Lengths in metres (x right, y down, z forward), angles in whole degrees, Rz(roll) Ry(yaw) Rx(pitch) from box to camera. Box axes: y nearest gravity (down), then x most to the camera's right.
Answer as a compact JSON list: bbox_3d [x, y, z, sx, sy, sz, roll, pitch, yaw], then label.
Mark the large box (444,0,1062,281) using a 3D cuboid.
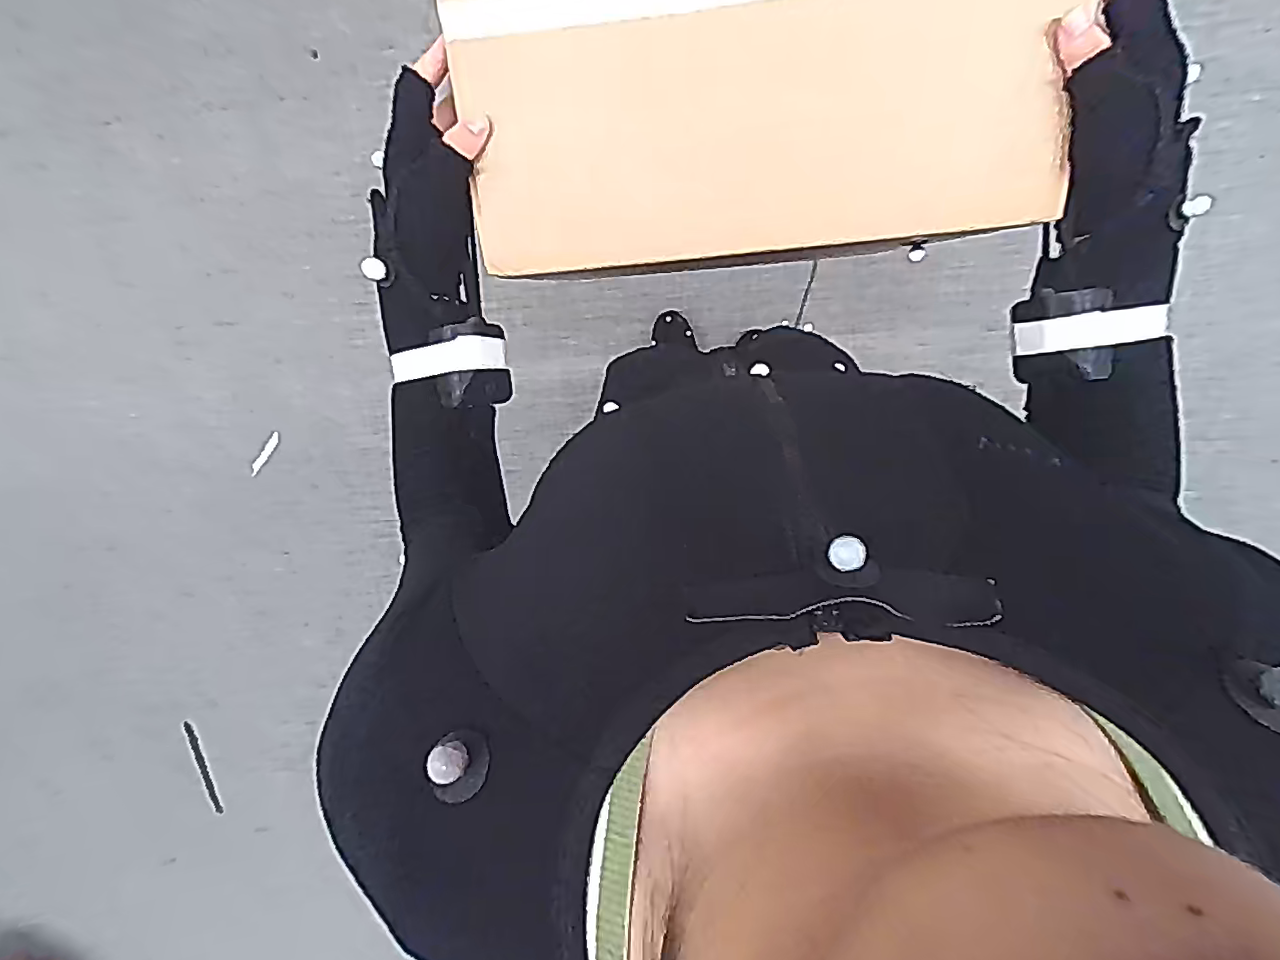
[{"bbox_3d":[0.077,-0.363,0.487,0.408,0.320,0.320,-4,109,4],"label":"large box"}]
